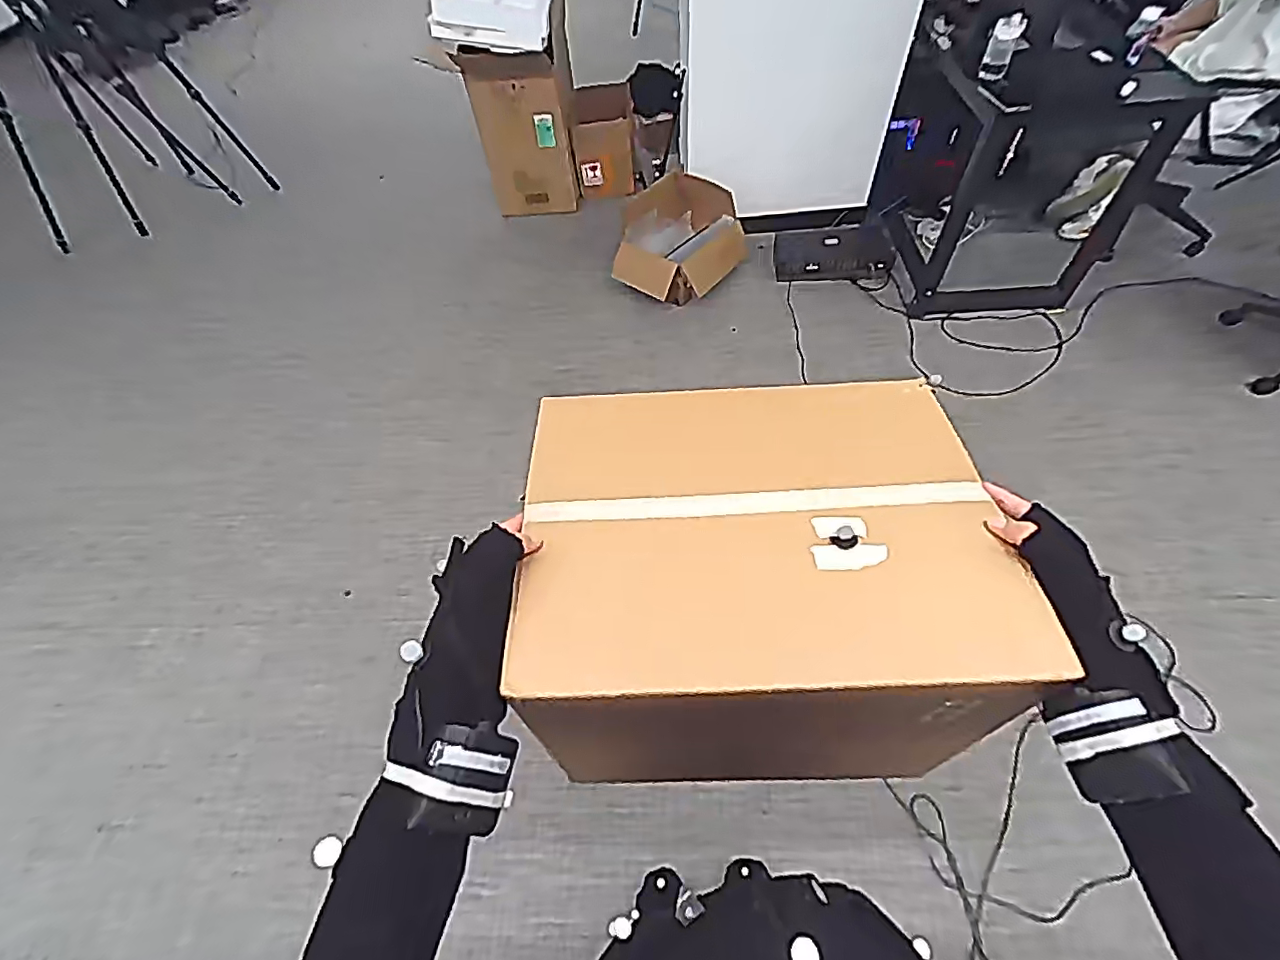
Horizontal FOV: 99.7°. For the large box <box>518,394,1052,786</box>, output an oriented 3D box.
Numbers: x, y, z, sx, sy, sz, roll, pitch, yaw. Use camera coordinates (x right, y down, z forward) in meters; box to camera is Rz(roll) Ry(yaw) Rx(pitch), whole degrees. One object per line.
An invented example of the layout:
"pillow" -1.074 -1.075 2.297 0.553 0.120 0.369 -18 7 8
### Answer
"large box" 0.107 0.130 0.604 0.408 0.320 0.320 -3 50 1
